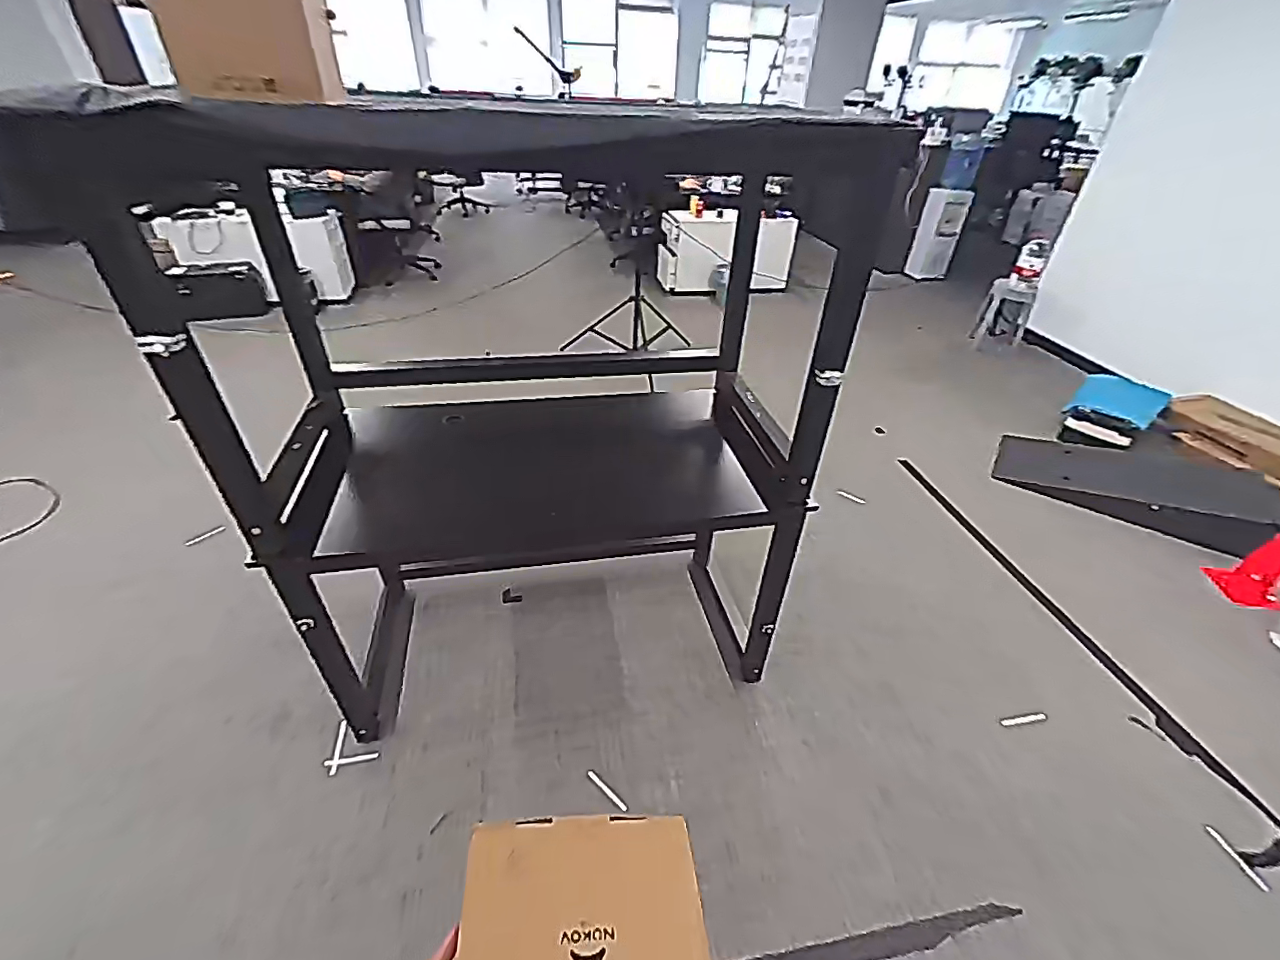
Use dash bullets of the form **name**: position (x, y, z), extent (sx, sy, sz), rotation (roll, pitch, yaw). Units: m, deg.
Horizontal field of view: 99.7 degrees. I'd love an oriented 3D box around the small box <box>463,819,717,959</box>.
- **small box**: position (-0.045, 0.375, 0.384), extent (0.168, 0.176, 0.179), rotation (5, 33, -13)
